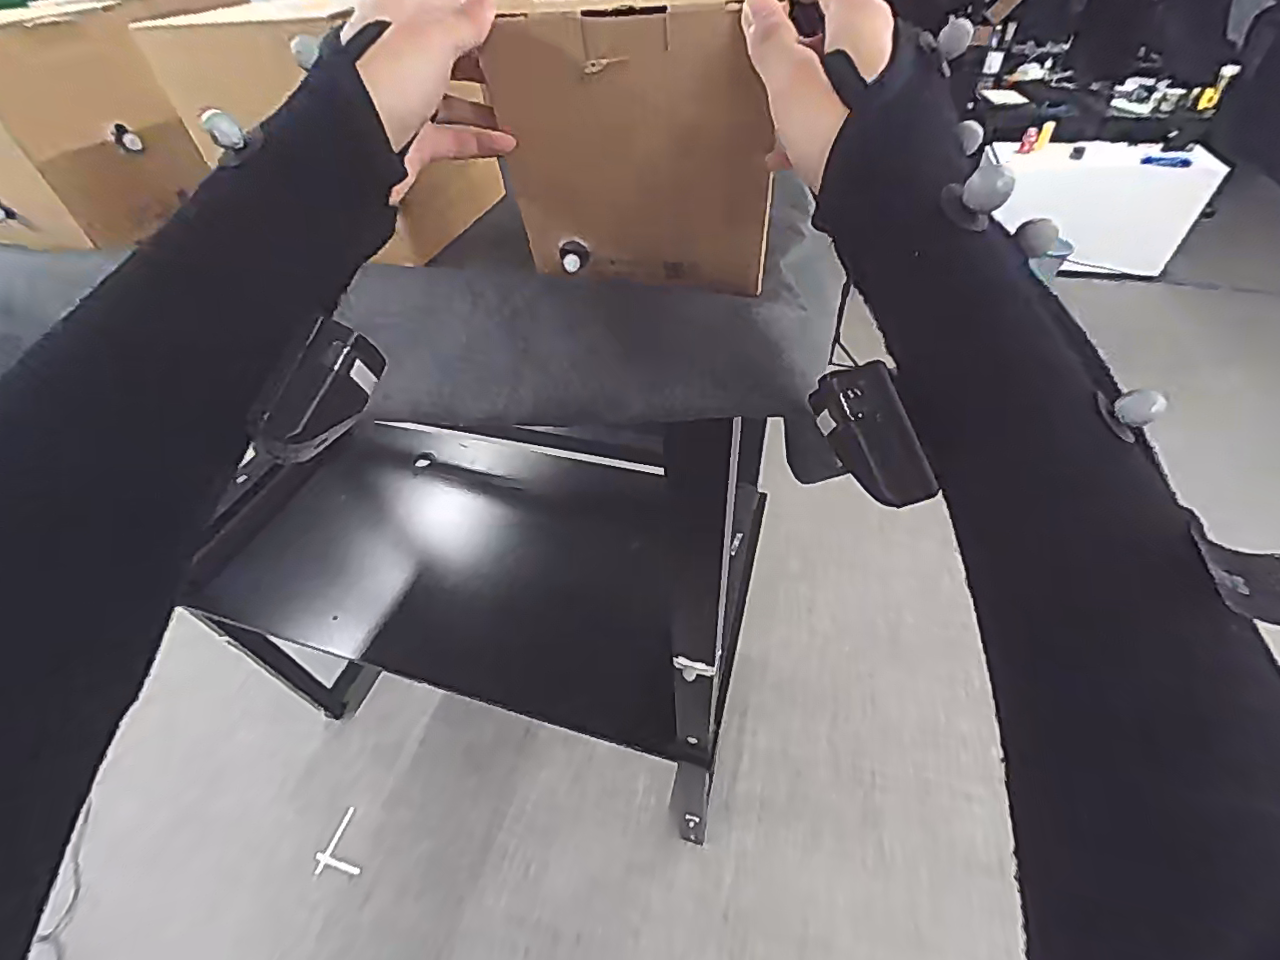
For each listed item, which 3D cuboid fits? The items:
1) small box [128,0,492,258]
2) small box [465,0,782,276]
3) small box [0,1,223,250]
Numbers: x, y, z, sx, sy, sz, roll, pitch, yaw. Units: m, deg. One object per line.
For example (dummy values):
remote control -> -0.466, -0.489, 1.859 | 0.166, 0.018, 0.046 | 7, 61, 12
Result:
small box -> -0.249, -0.307, 0.465 | 0.168, 0.176, 0.179 | 8, 47, 12
small box -> 0.009, -0.261, 0.376 | 0.168, 0.176, 0.179 | 5, 55, 9
small box -> -0.567, -0.338, 0.520 | 0.179, 0.176, 0.168 | 10, 47, 12
